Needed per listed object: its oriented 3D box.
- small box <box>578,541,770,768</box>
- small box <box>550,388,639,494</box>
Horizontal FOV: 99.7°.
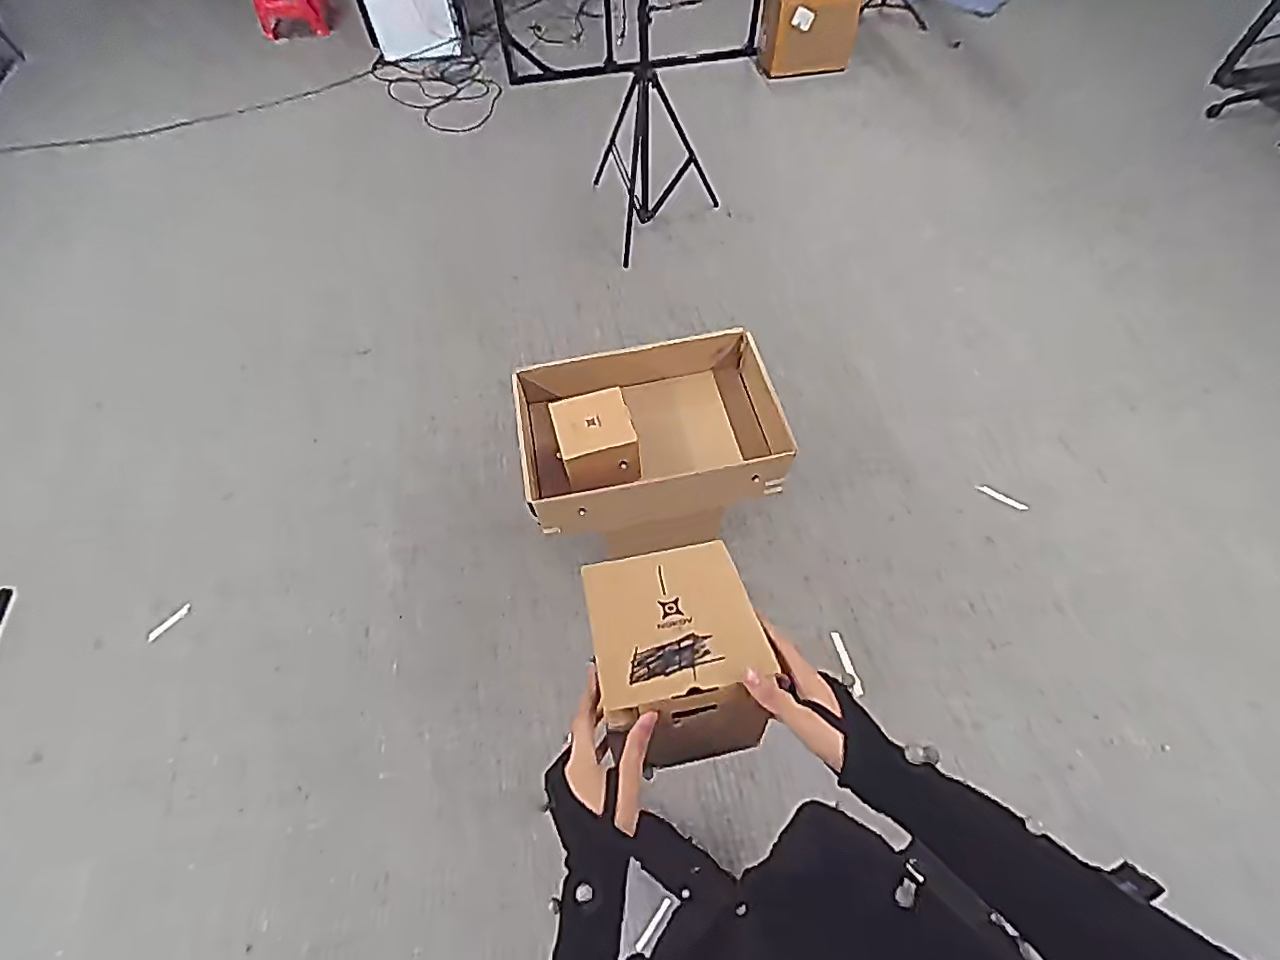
[{"bbox_3d":[0.031,0.198,0.601,0.168,0.176,0.179,-10,46,-6],"label":"small box"},{"bbox_3d":[-0.104,-0.089,1.298,0.179,0.176,0.168,-16,61,-6],"label":"small box"}]
